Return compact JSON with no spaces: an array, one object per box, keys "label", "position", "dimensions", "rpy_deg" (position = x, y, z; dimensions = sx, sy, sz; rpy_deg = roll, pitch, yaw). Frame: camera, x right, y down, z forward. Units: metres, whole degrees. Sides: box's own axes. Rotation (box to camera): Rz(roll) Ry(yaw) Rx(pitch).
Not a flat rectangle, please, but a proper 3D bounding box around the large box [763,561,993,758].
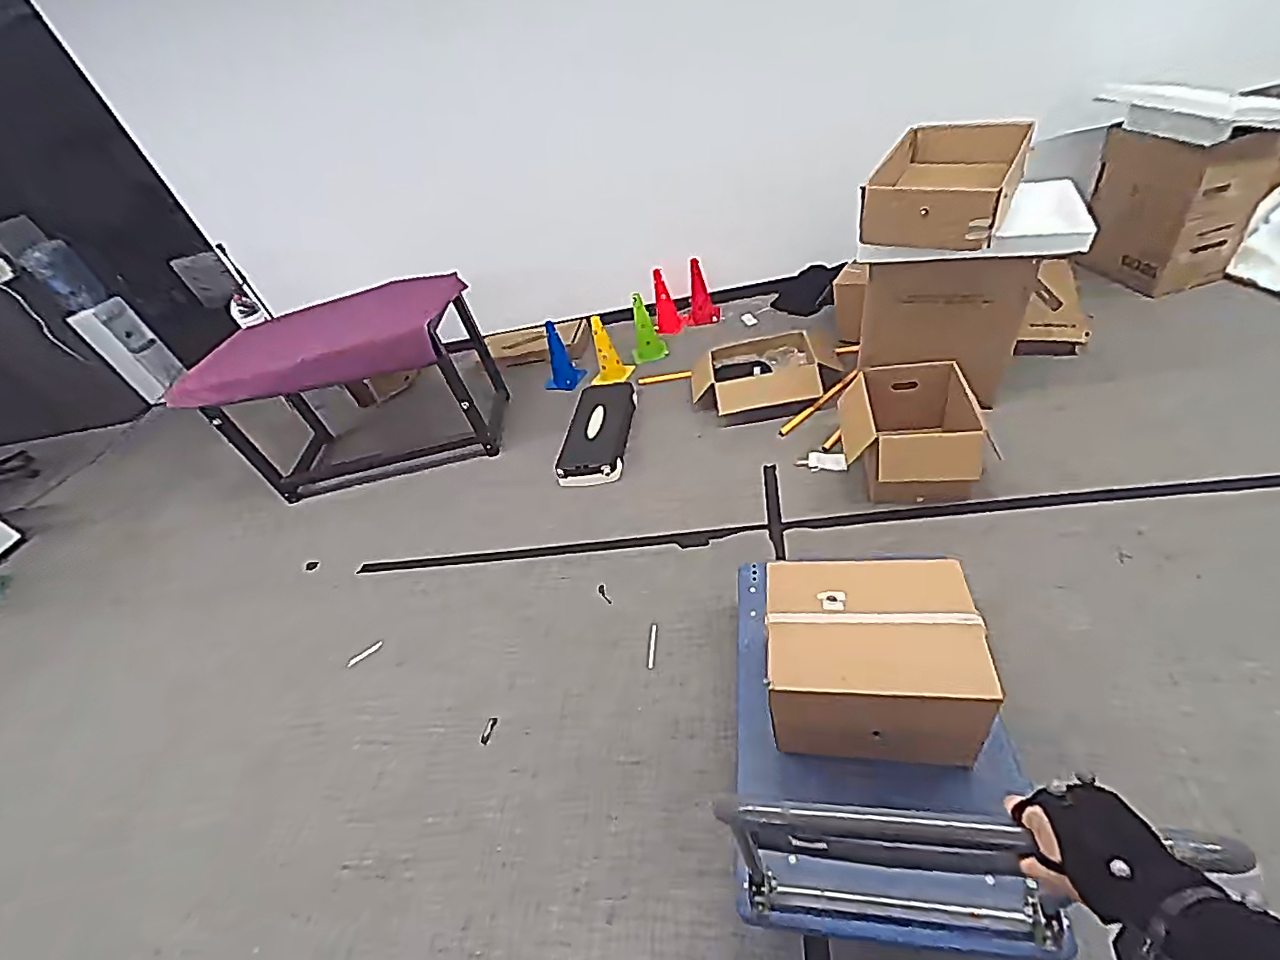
[{"label":"large box","position":[0.501,0.406,1.218],"dimensions":[0.408,0.320,0.320],"rpy_deg":[-5,41,16]}]
